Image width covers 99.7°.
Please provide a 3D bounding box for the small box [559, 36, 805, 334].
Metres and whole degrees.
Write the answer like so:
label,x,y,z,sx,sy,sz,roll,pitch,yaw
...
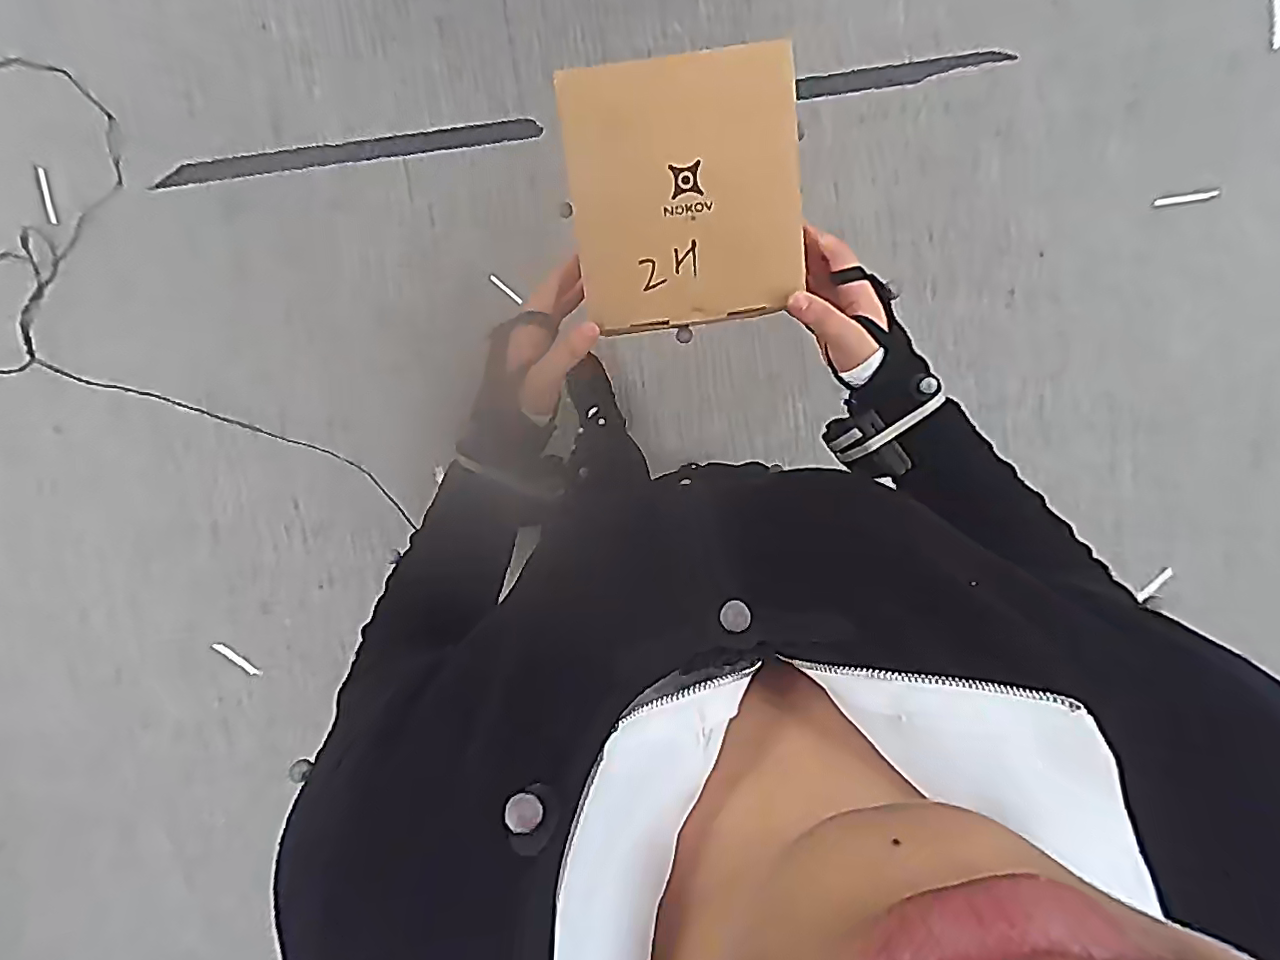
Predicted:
label,x,y,z,sx,sy,sz,roll,pitch,yaw
small box,0.032,-0.227,0.465,0.168,0.176,0.179,-7,103,1
